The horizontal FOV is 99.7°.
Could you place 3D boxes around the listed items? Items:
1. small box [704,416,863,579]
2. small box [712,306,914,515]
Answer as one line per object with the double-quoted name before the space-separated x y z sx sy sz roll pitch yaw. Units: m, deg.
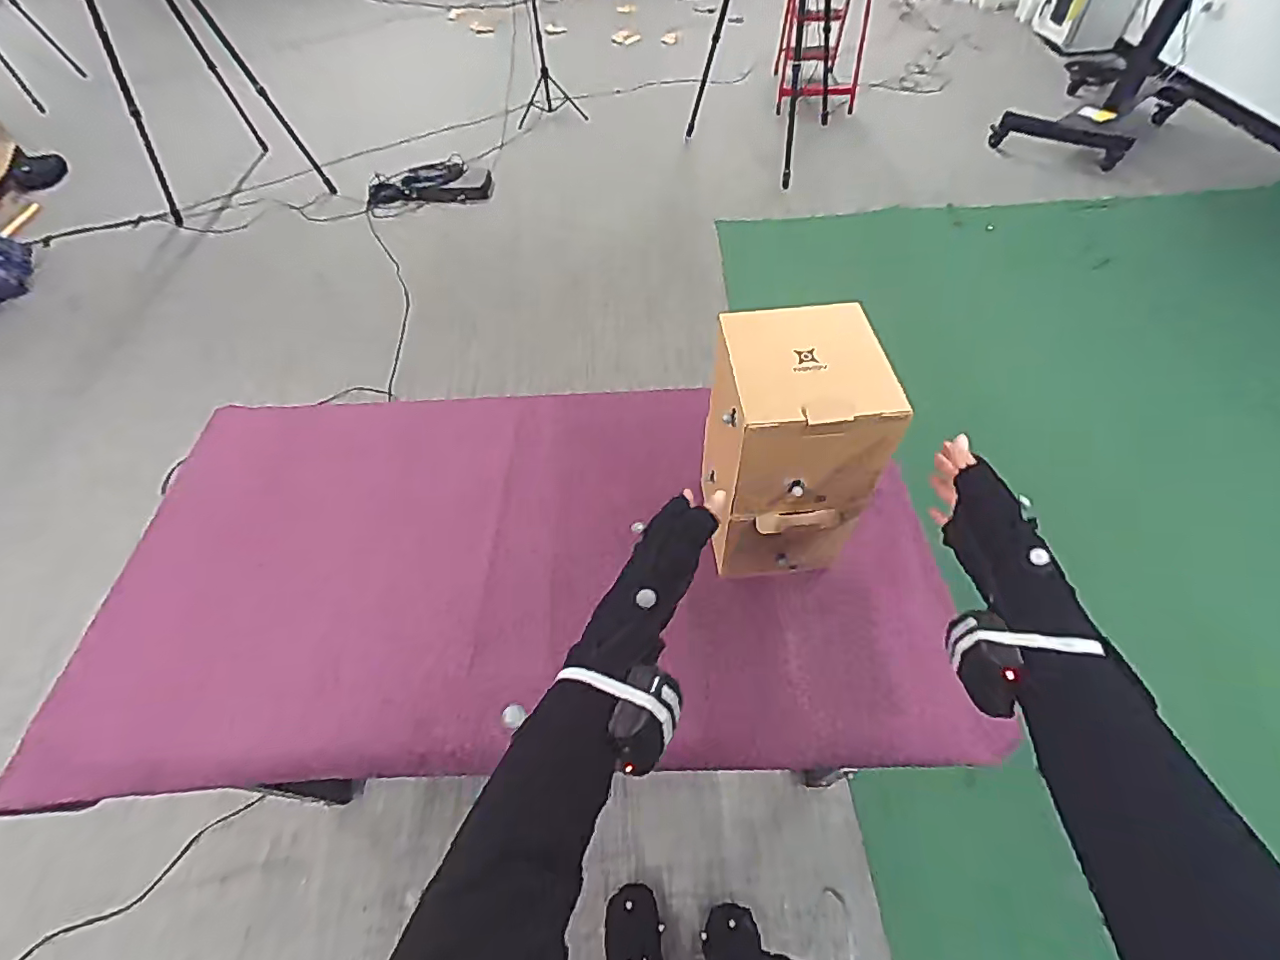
"small box" 0.187 0.020 0.767 0.168 0.176 0.179 -6 54 0
"small box" 0.182 -0.079 0.638 0.168 0.176 0.179 -5 55 -1
